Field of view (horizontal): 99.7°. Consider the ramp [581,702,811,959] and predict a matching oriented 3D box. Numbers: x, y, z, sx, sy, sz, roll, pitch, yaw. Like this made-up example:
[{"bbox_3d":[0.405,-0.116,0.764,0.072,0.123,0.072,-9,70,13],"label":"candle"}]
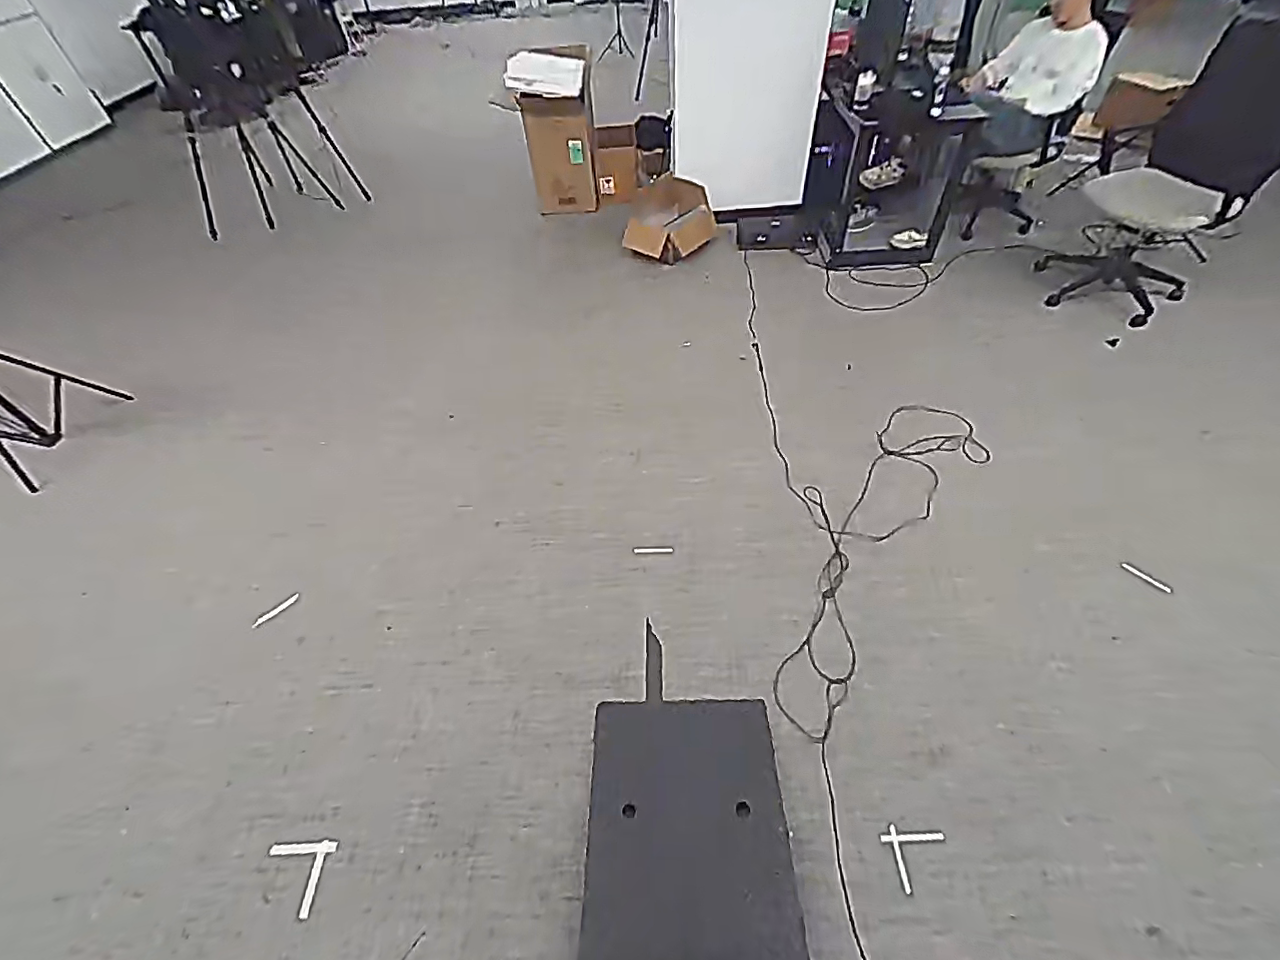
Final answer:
[{"bbox_3d":[0.115,0.974,1.200,0.509,0.206,0.991,-4,49,2],"label":"ramp"}]
